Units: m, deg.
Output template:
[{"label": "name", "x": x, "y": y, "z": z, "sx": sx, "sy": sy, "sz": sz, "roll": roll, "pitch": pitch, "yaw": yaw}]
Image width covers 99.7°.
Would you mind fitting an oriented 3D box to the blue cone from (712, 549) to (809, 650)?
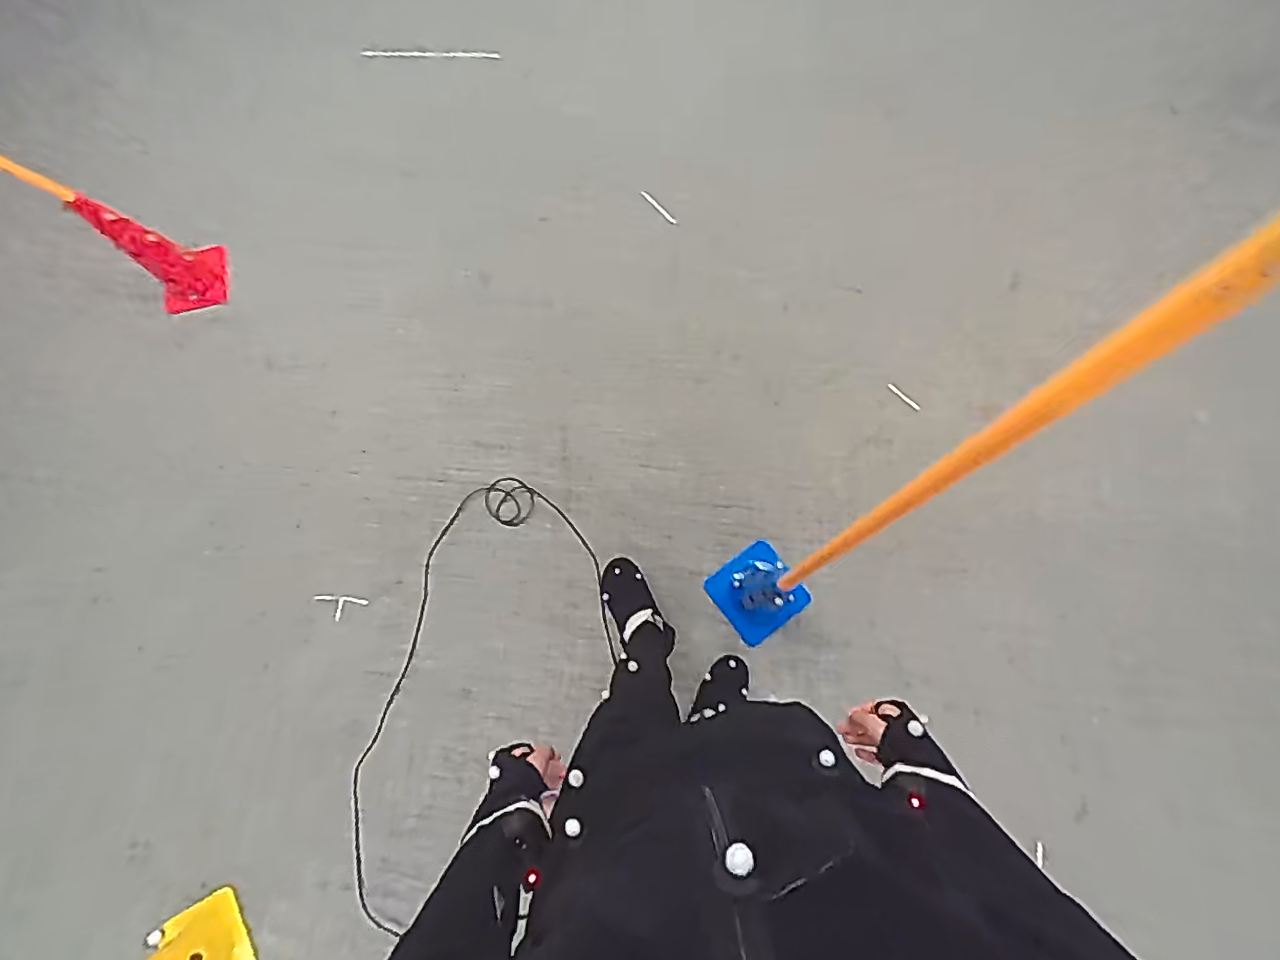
[{"label": "blue cone", "x": 0.280, "y": 0.243, "z": 1.146, "sx": 0.193, "sy": 0.380, "sz": 0.192, "roll": -38, "pitch": 77, "yaw": -6}]
